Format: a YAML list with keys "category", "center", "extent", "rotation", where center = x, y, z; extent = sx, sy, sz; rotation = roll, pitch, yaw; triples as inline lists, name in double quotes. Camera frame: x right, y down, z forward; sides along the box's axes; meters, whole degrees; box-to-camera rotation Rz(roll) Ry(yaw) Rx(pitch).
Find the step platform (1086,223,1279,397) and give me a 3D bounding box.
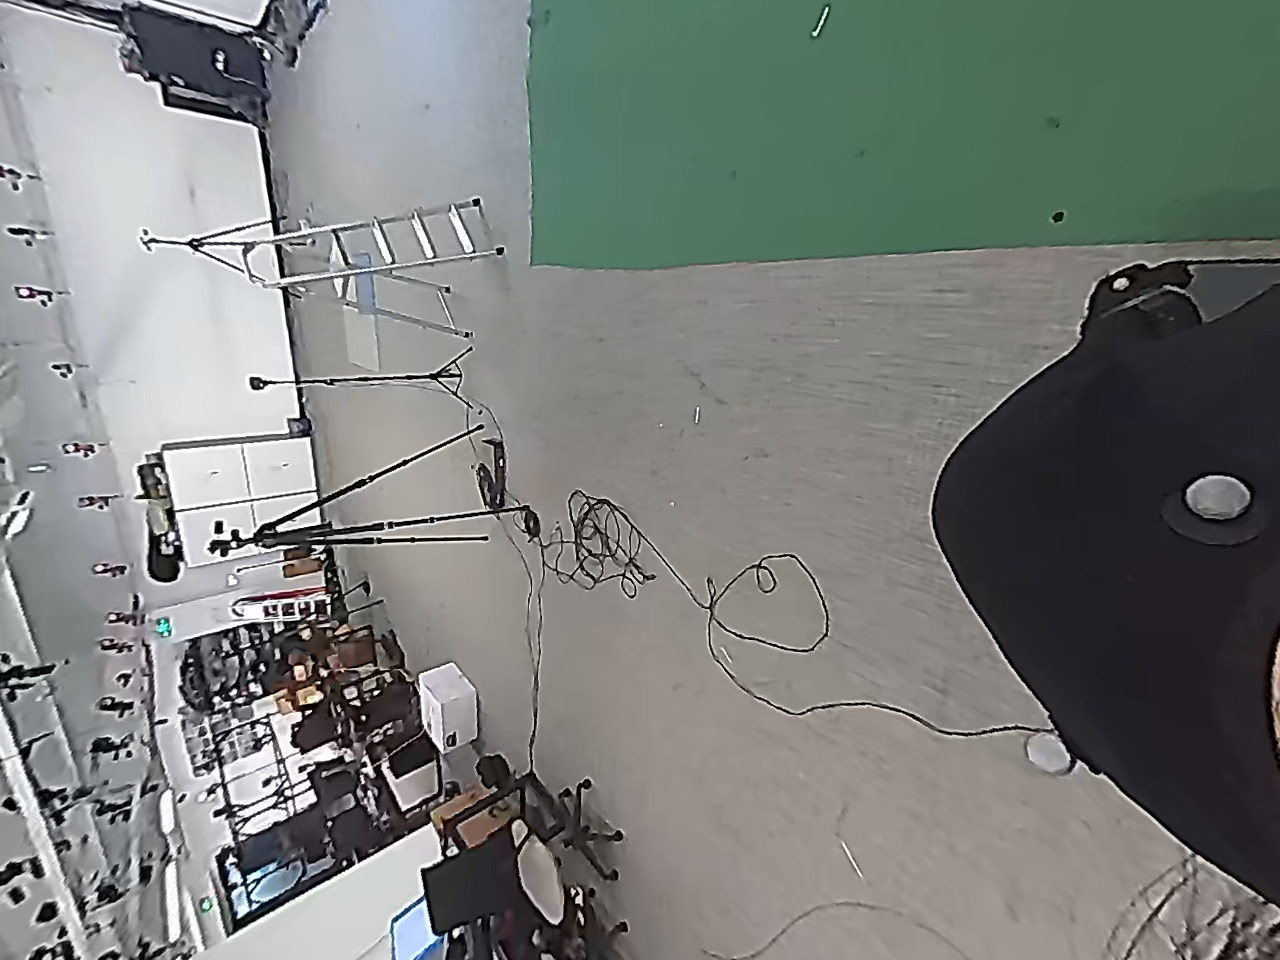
- category: "step platform"
  center: [1.139, -0.251, 0.822]
  extent: [0.684, 0.204, 0.286]
  rotation: [20, 115, 46]
